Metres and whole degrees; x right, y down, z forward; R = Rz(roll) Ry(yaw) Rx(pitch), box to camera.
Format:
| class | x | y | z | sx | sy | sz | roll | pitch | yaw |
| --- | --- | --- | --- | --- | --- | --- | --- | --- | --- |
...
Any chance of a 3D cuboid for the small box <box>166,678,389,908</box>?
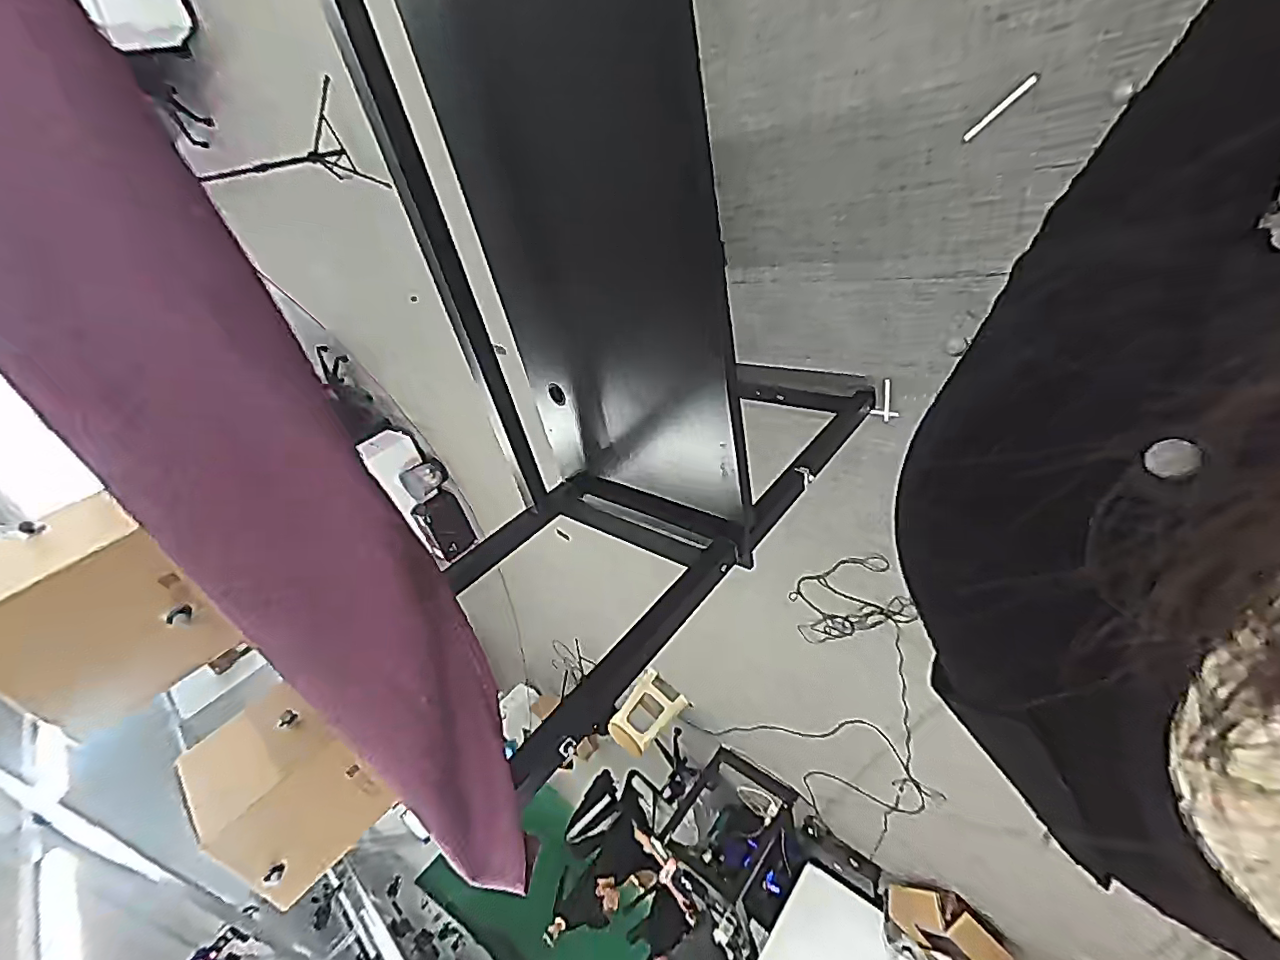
| class | x | y | z | sx | sy | sz | roll | pitch | yaw |
| --- | --- | --- | --- | --- | --- | --- | --- | --- | --- |
| small box | -0.471 | 0.397 | 0.718 | 0.179 | 0.176 | 0.168 | 17 | 135 | 41 |
